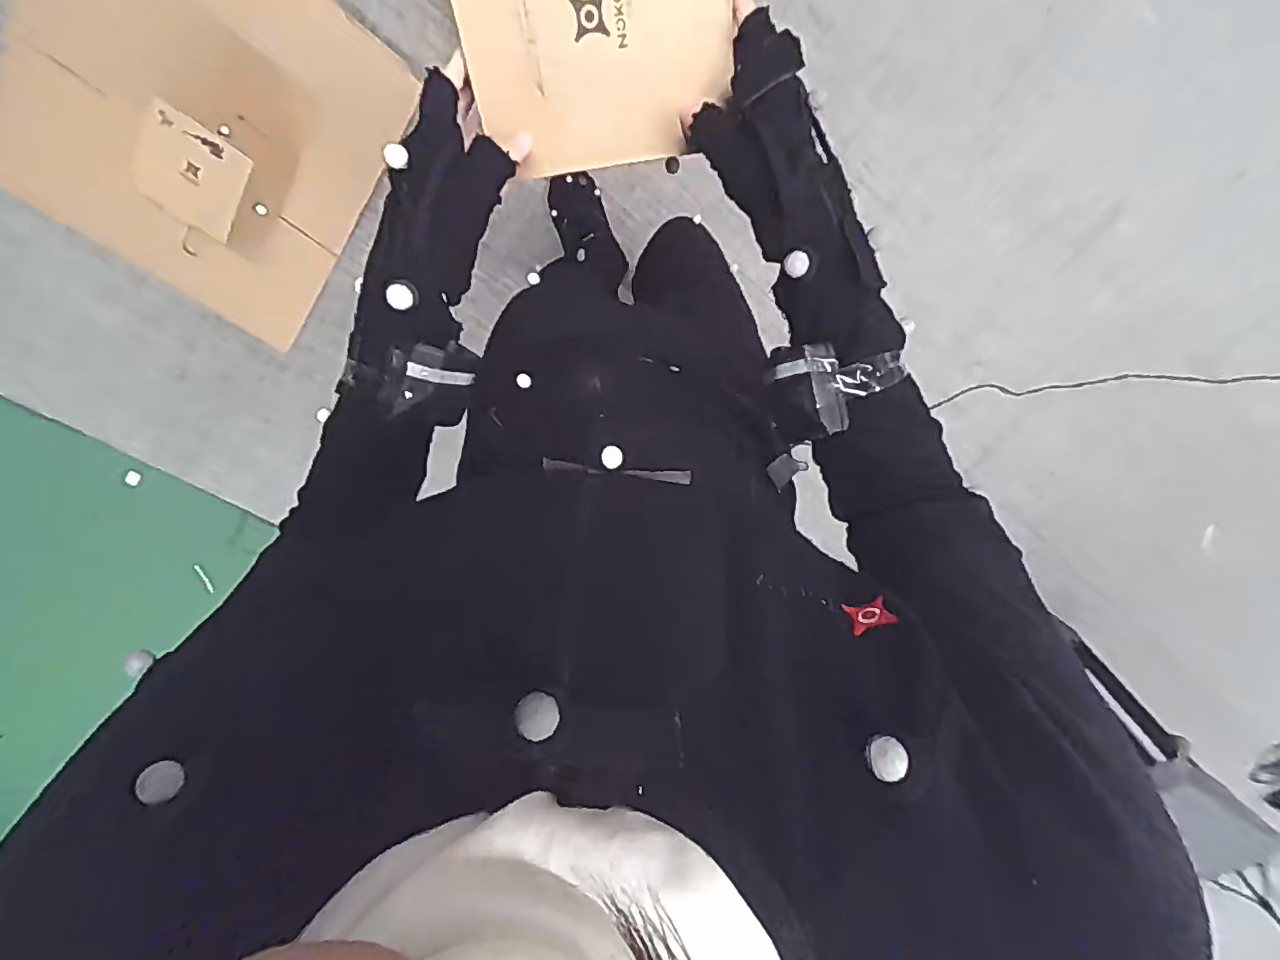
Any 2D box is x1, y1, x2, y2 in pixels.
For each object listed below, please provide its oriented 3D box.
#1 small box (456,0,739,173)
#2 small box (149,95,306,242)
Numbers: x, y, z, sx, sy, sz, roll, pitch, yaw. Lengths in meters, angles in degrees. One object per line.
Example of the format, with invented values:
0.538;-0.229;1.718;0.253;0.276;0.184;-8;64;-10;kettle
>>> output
-0.029;-0.345;0.408;0.179;0.176;0.168;-7;123;6;small box
-0.780;-0.594;1.037;0.168;0.176;0.179;30;118;-18;small box
